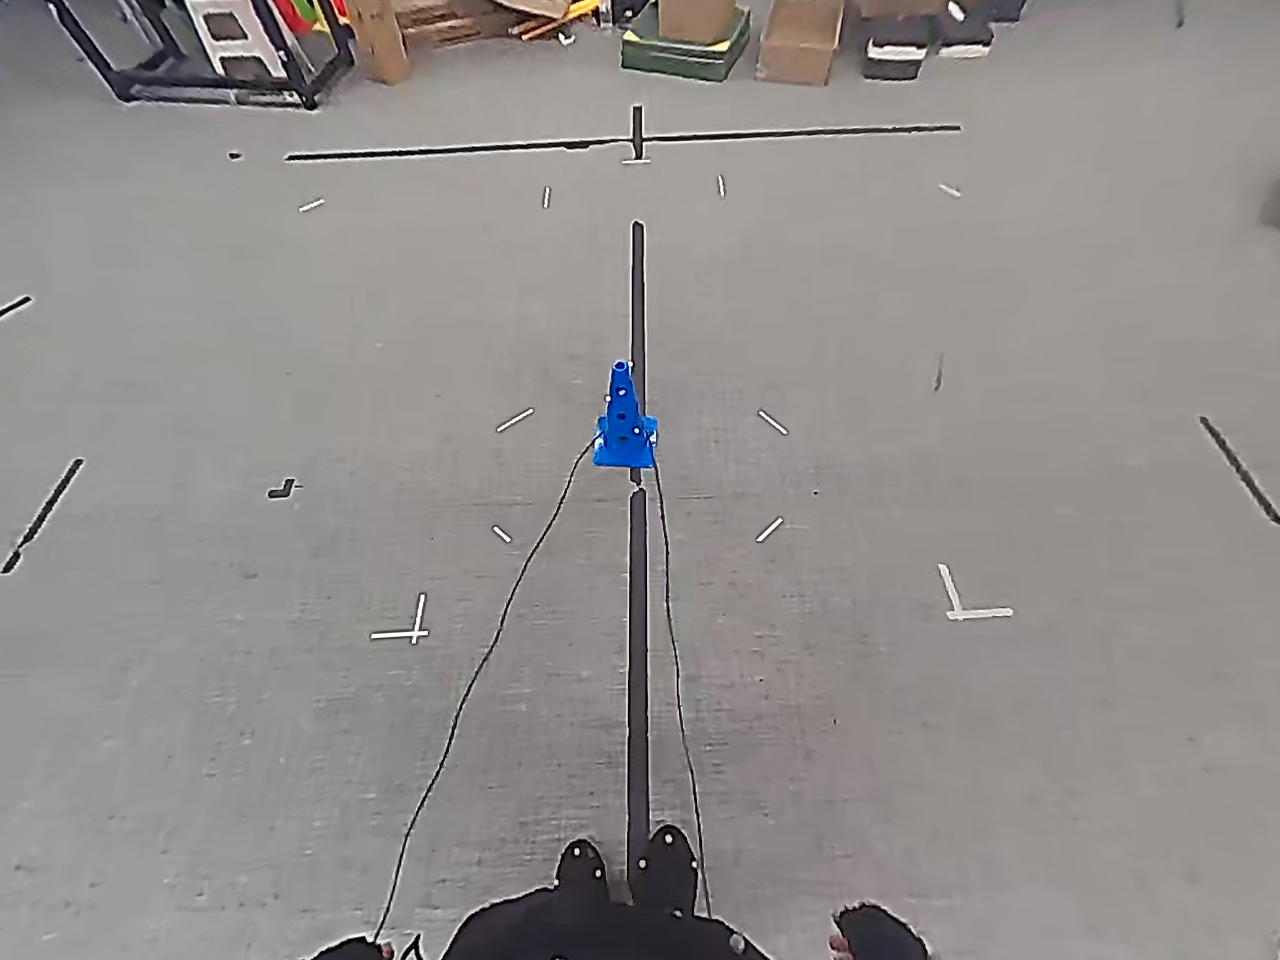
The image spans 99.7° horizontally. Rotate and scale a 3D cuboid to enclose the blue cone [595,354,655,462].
[{"bbox_3d":[-0.054,-0.220,1.597,0.193,0.380,0.192,1,60,3],"label":"blue cone"}]
